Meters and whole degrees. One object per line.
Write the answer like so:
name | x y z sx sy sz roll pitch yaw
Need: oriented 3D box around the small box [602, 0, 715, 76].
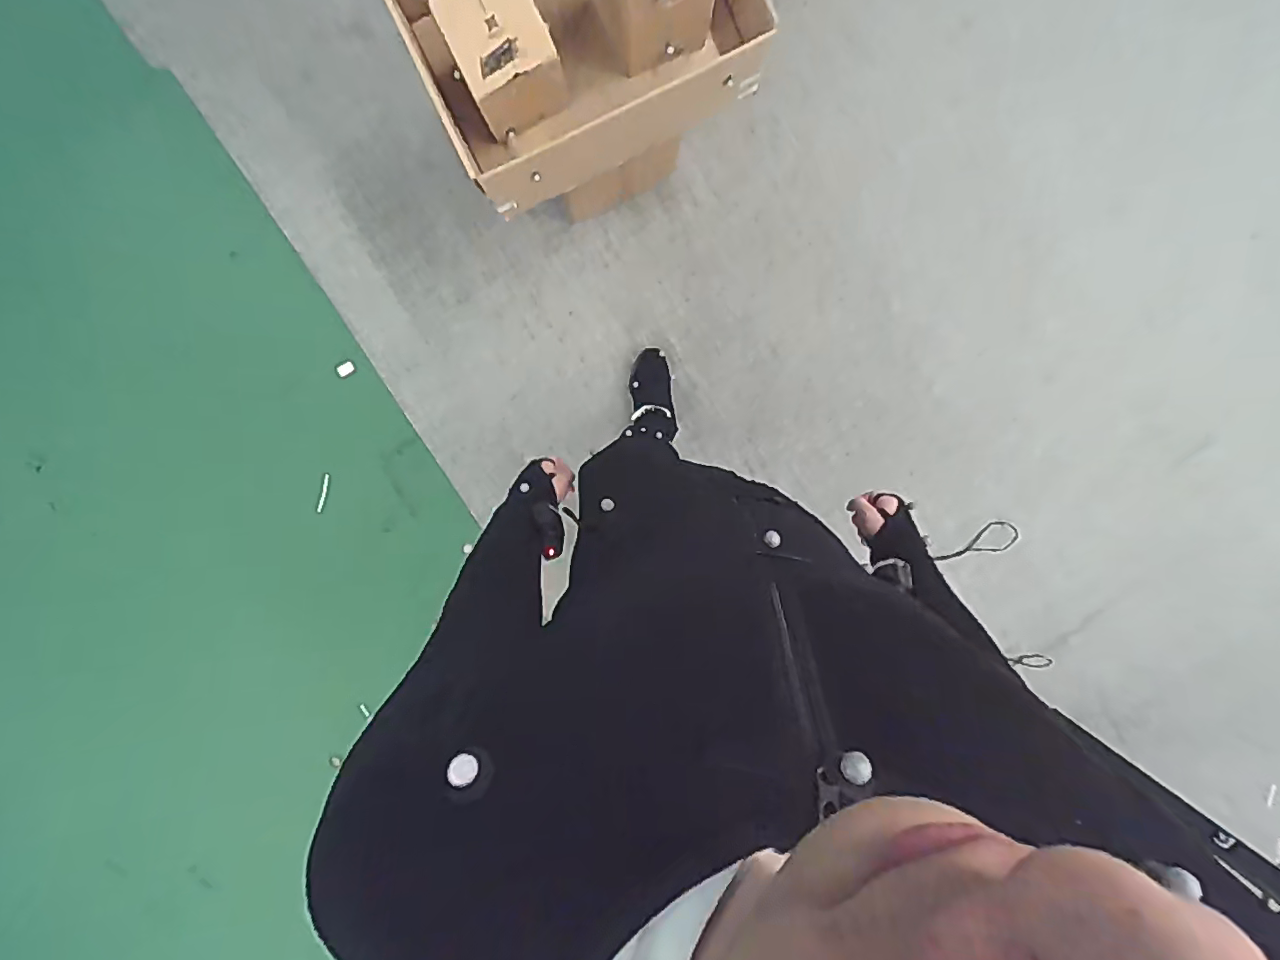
small box | 0.025 -0.896 0.983 0.168 0.176 0.179 -21 98 2
